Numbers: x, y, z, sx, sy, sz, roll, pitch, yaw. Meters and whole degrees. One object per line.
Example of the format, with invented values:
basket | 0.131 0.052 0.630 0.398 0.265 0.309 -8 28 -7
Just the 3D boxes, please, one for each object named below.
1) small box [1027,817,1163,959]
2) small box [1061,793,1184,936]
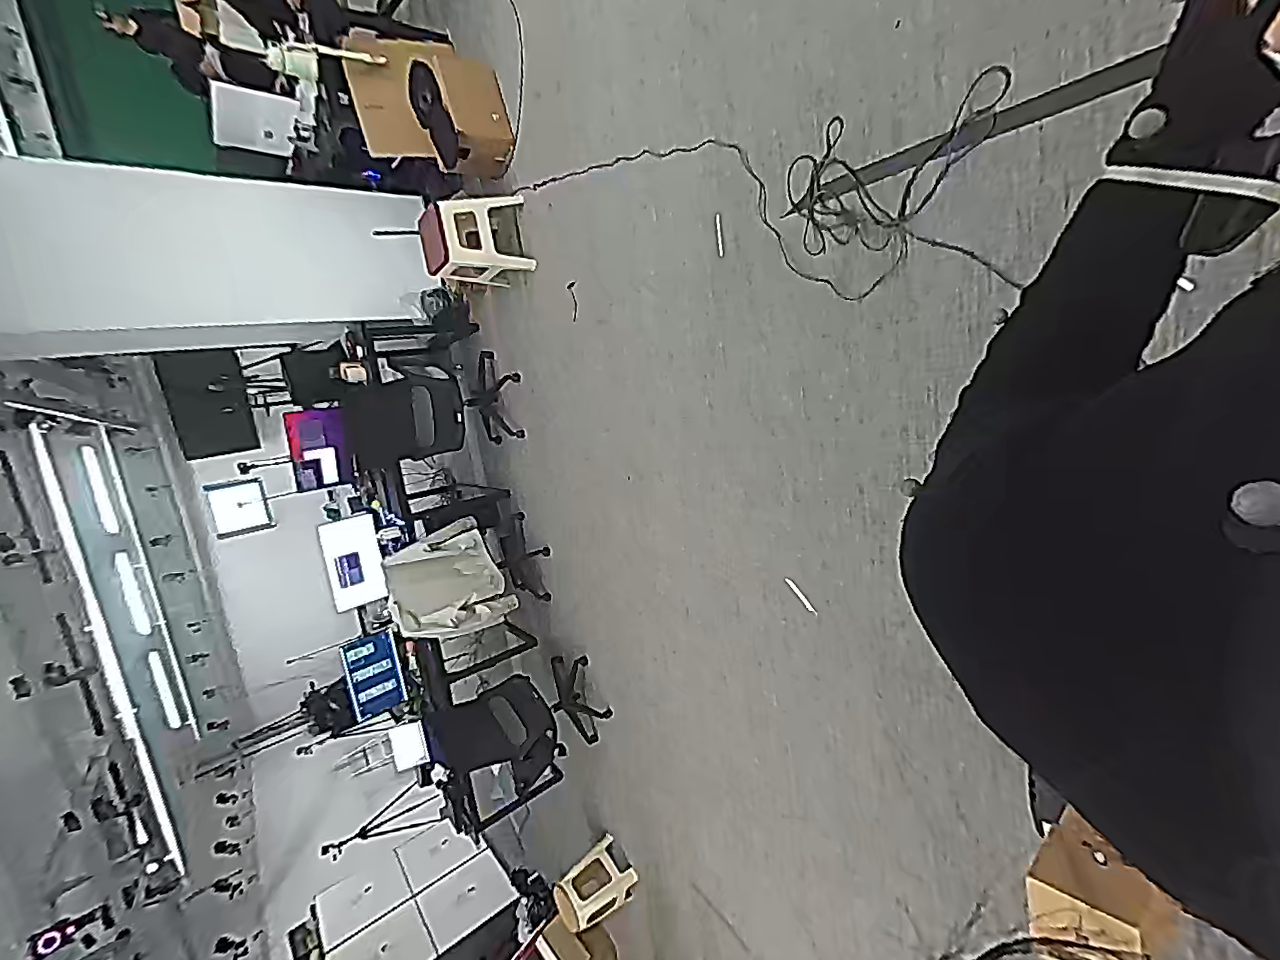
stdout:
small box | 0.865 0.798 1.026 0.168 0.176 0.179 0 103 52
small box | 0.997 0.757 1.115 0.168 0.176 0.179 1 103 52
